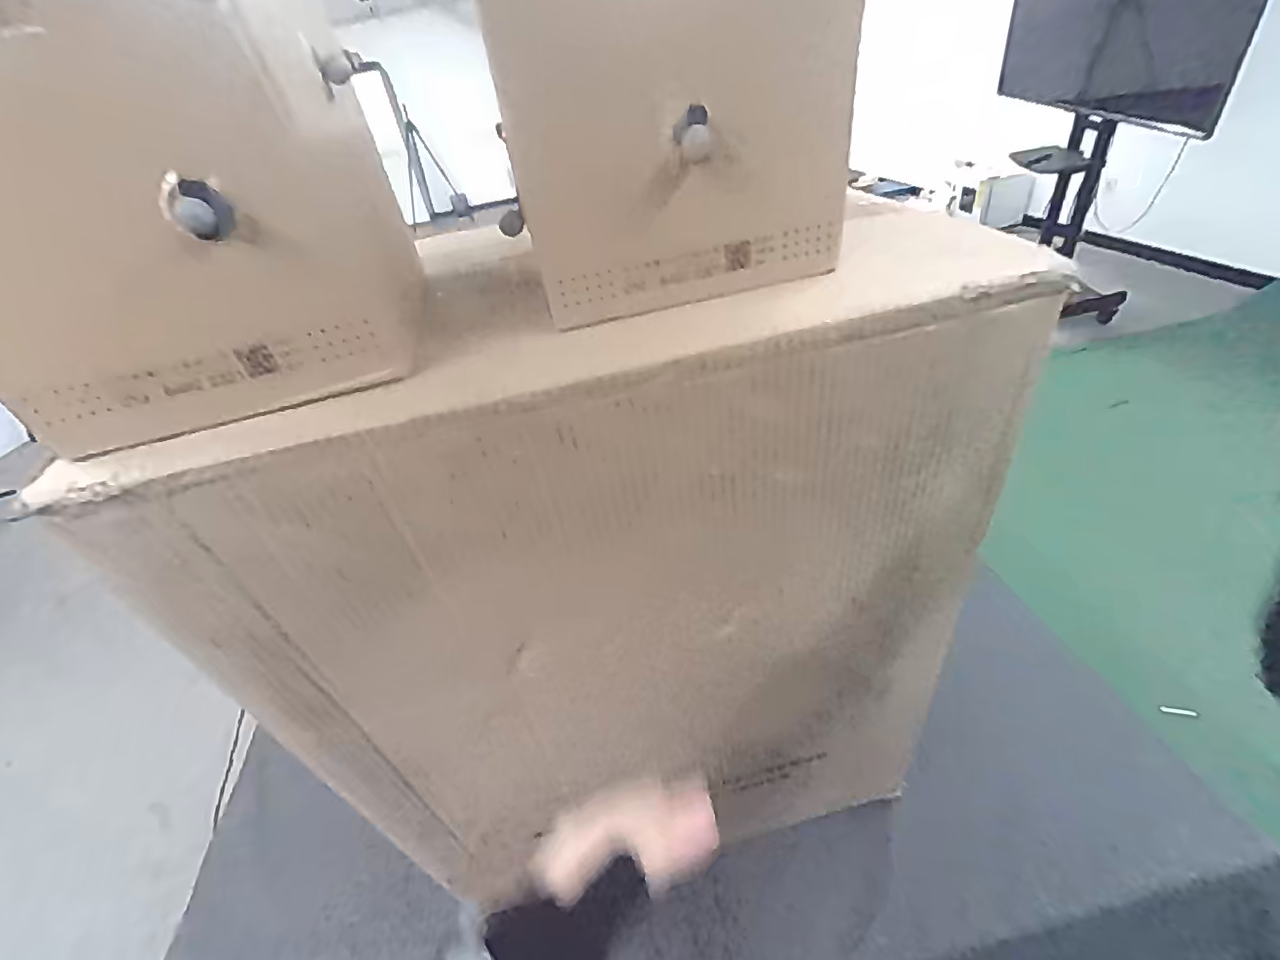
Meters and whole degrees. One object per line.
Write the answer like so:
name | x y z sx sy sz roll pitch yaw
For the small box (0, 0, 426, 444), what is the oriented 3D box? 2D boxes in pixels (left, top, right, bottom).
small box | -0.226 -0.134 0.284 0.168 0.176 0.179 -15 39 -7
